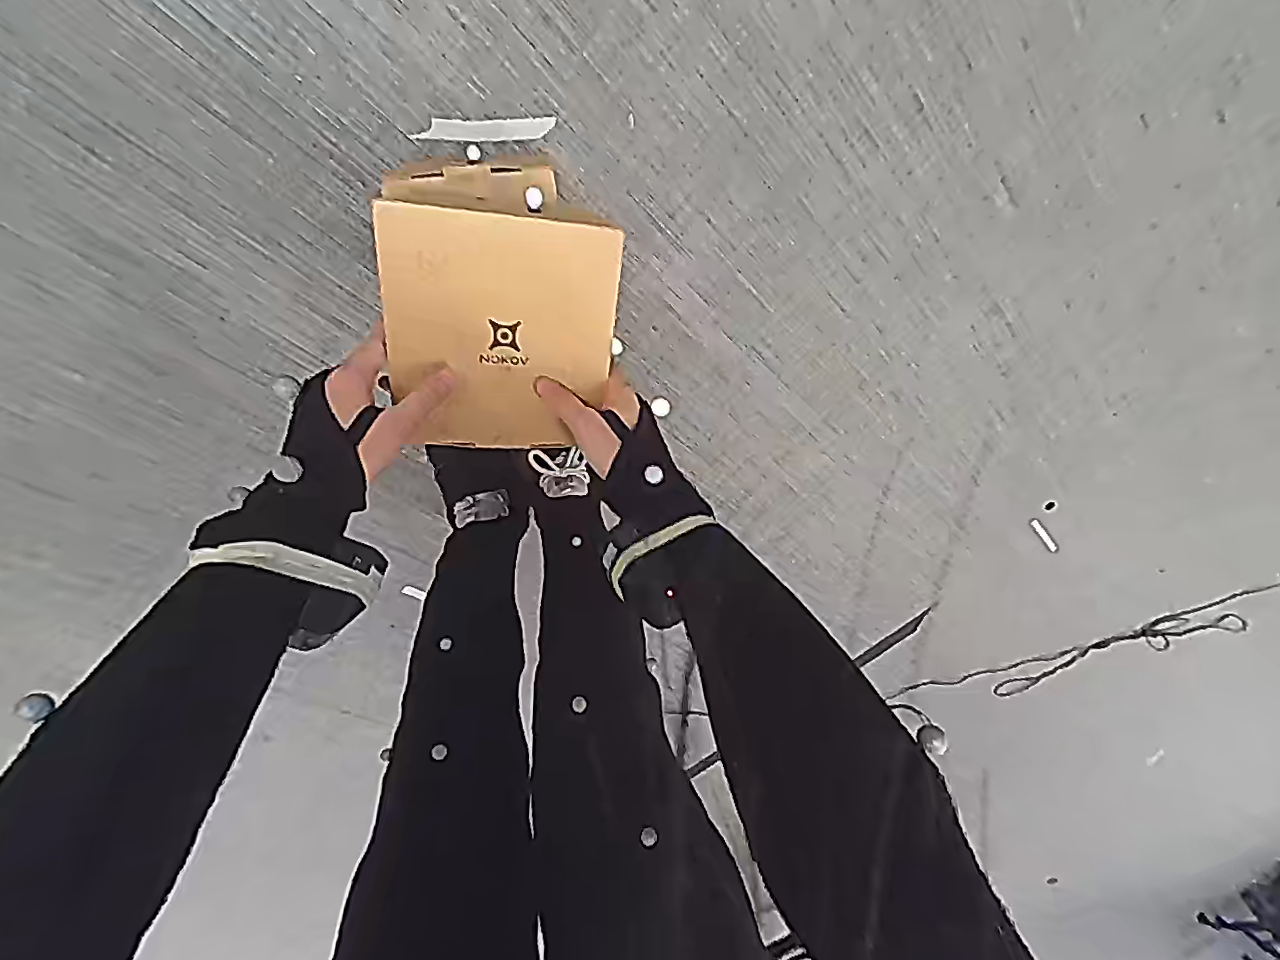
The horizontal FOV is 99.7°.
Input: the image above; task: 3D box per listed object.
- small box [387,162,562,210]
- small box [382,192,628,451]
[{"bbox_3d":[-0.172,-0.266,0.632,0.168,0.176,0.179,-8,125,-7],"label":"small box"},{"bbox_3d":[-0.116,-0.140,0.468,0.168,0.176,0.179,0,122,-15],"label":"small box"}]
